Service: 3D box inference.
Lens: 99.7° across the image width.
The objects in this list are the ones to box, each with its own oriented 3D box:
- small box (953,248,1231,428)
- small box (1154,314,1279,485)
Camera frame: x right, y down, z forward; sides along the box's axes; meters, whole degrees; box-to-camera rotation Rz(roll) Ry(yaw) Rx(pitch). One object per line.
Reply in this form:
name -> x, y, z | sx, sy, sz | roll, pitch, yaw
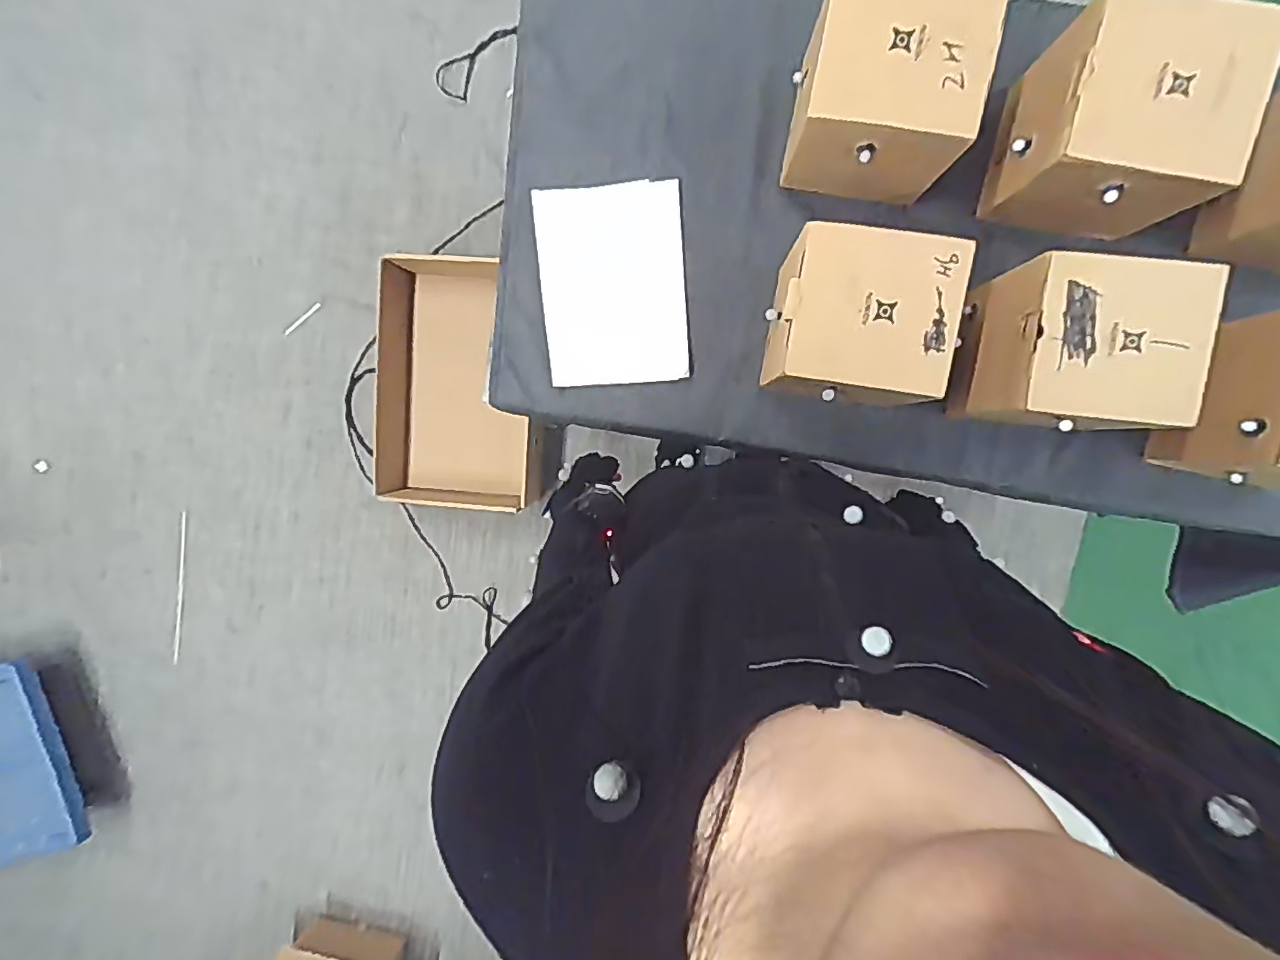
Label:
small box -> 0.498, -0.151, 0.627 | 0.179, 0.176, 0.168 | 6, 95, 3
small box -> 0.752, -0.089, 0.615 | 0.168, 0.176, 0.179 | 12, 95, 3
